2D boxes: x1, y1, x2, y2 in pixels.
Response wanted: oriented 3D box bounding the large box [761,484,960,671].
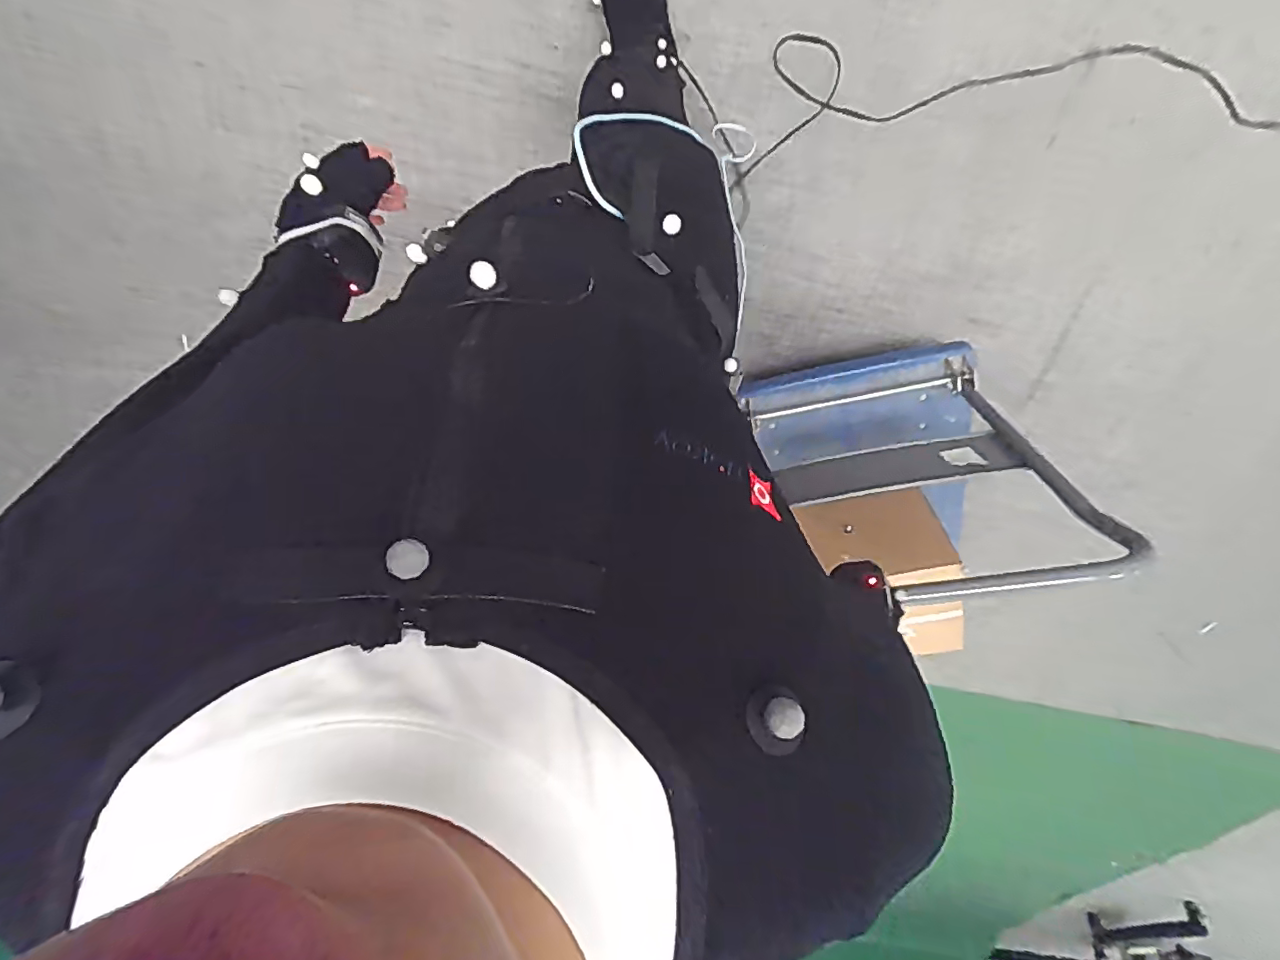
[{"bbox_3d":[0.566,0.257,1.430,0.408,0.320,0.320,-14,125,13],"label":"large box"}]
